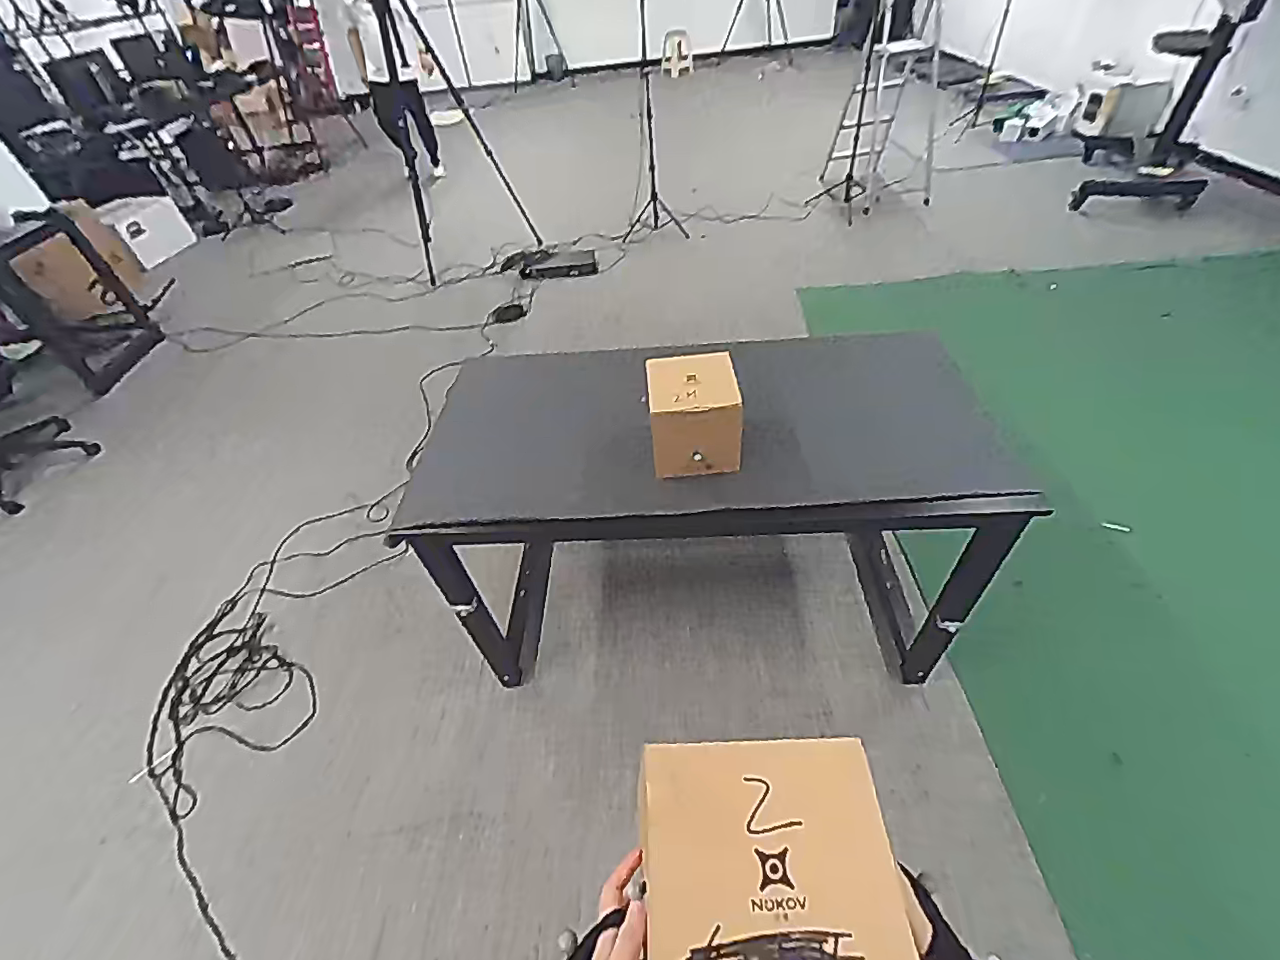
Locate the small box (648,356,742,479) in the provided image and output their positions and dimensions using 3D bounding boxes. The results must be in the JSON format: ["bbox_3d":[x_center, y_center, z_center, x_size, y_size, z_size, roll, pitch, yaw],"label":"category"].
[{"bbox_3d":[0.104,-0.123,1.070,0.168,0.176,0.179,-5,44,2],"label":"small box"}]
